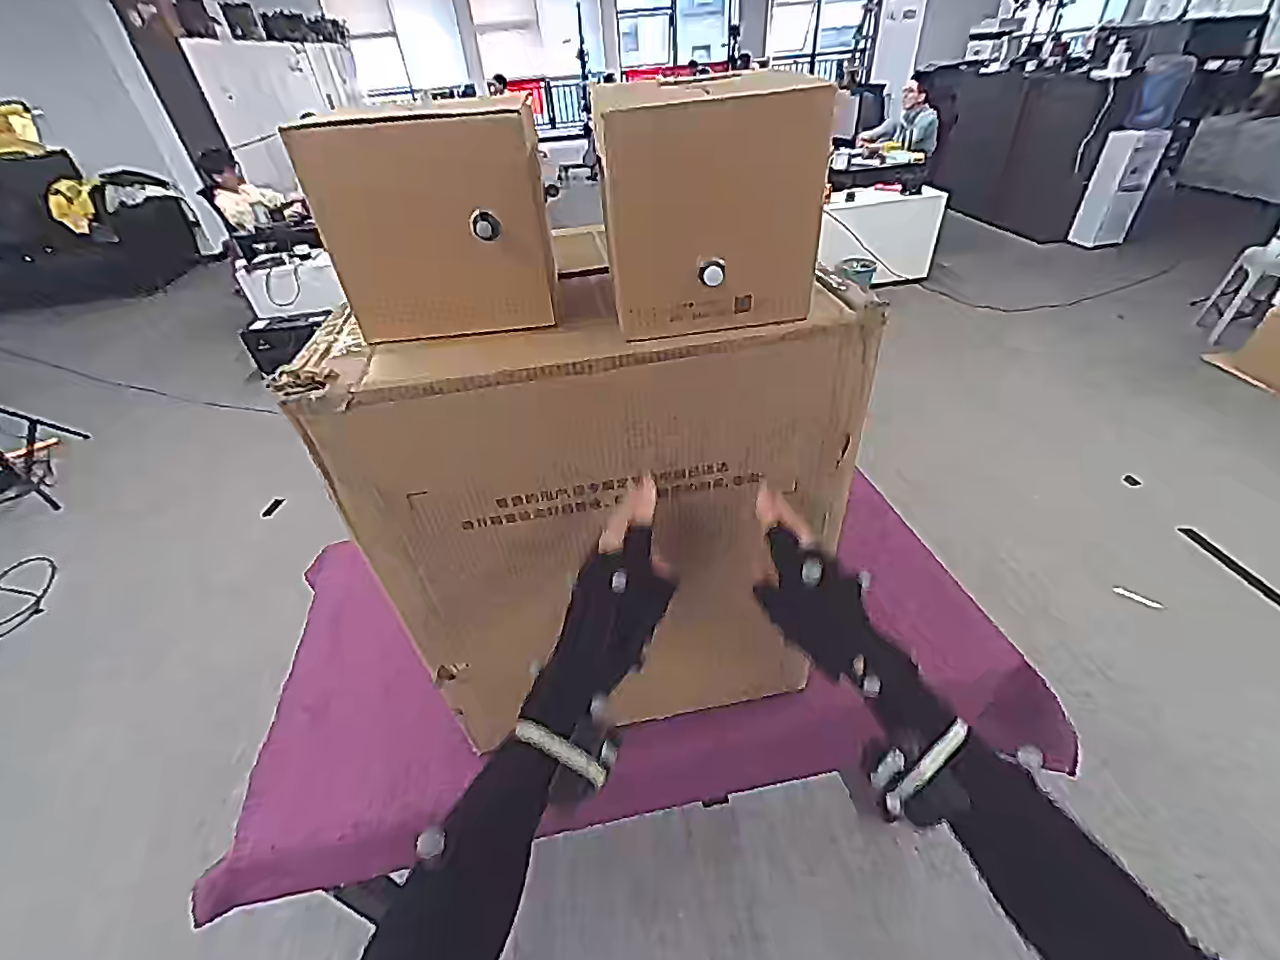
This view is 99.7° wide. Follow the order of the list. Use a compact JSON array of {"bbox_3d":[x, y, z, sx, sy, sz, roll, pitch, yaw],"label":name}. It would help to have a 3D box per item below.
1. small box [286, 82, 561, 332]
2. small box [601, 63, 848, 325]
[{"bbox_3d":[-0.168,-0.251,0.495,0.179,0.176,0.168,-7,38,-3],"label":"small box"},{"bbox_3d":[0.057,-0.252,0.475,0.168,0.176,0.179,-8,39,-2],"label":"small box"}]
